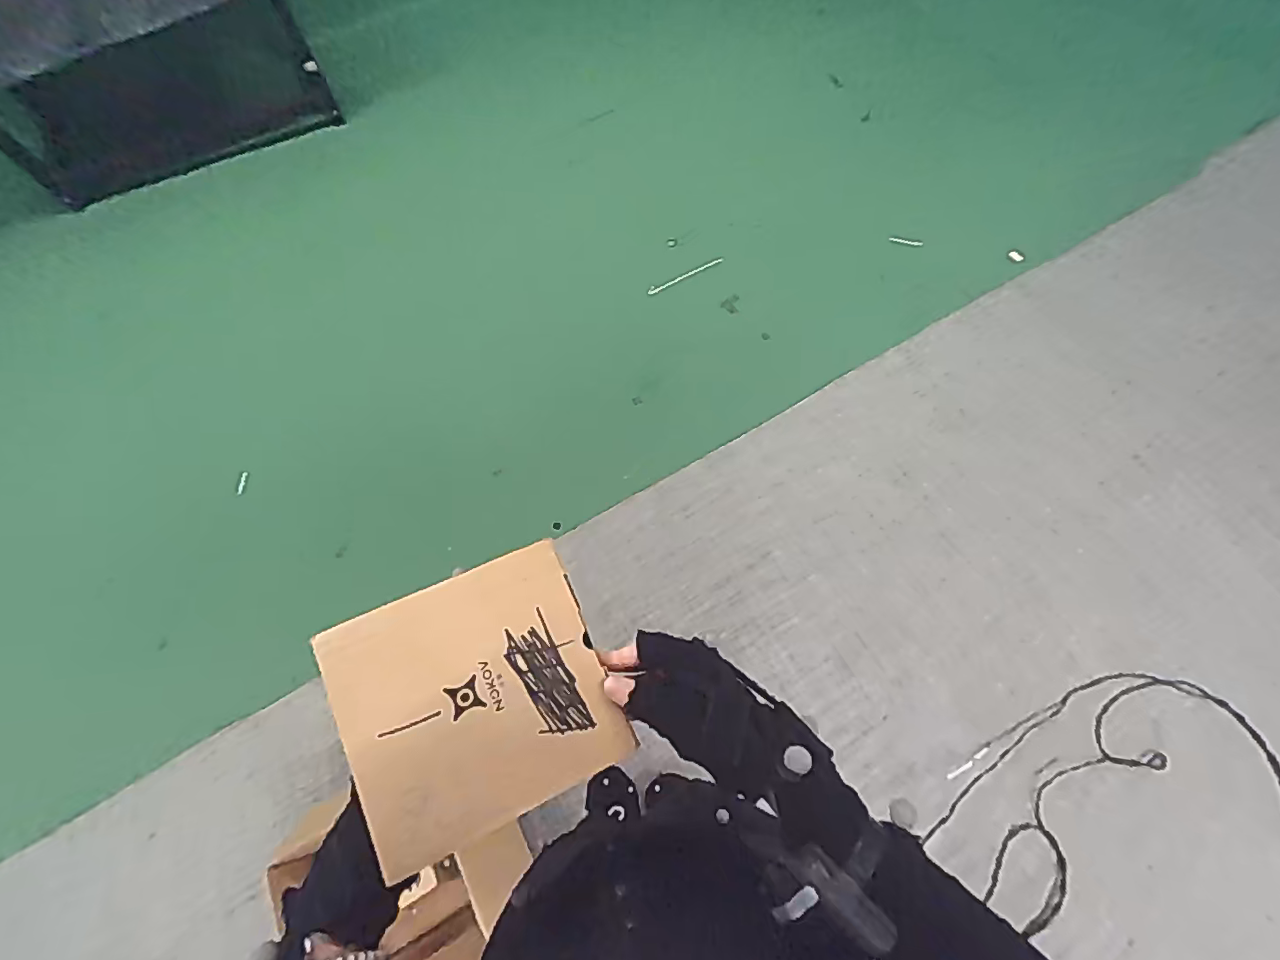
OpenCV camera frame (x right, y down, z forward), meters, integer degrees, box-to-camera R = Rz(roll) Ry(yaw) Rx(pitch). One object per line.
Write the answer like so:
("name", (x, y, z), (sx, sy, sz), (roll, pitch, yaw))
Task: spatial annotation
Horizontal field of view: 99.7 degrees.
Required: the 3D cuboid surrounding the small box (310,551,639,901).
("small box", (-0.122, 0.174, 0.435), (0.179, 0.176, 0.168), (-21, 77, -15))
